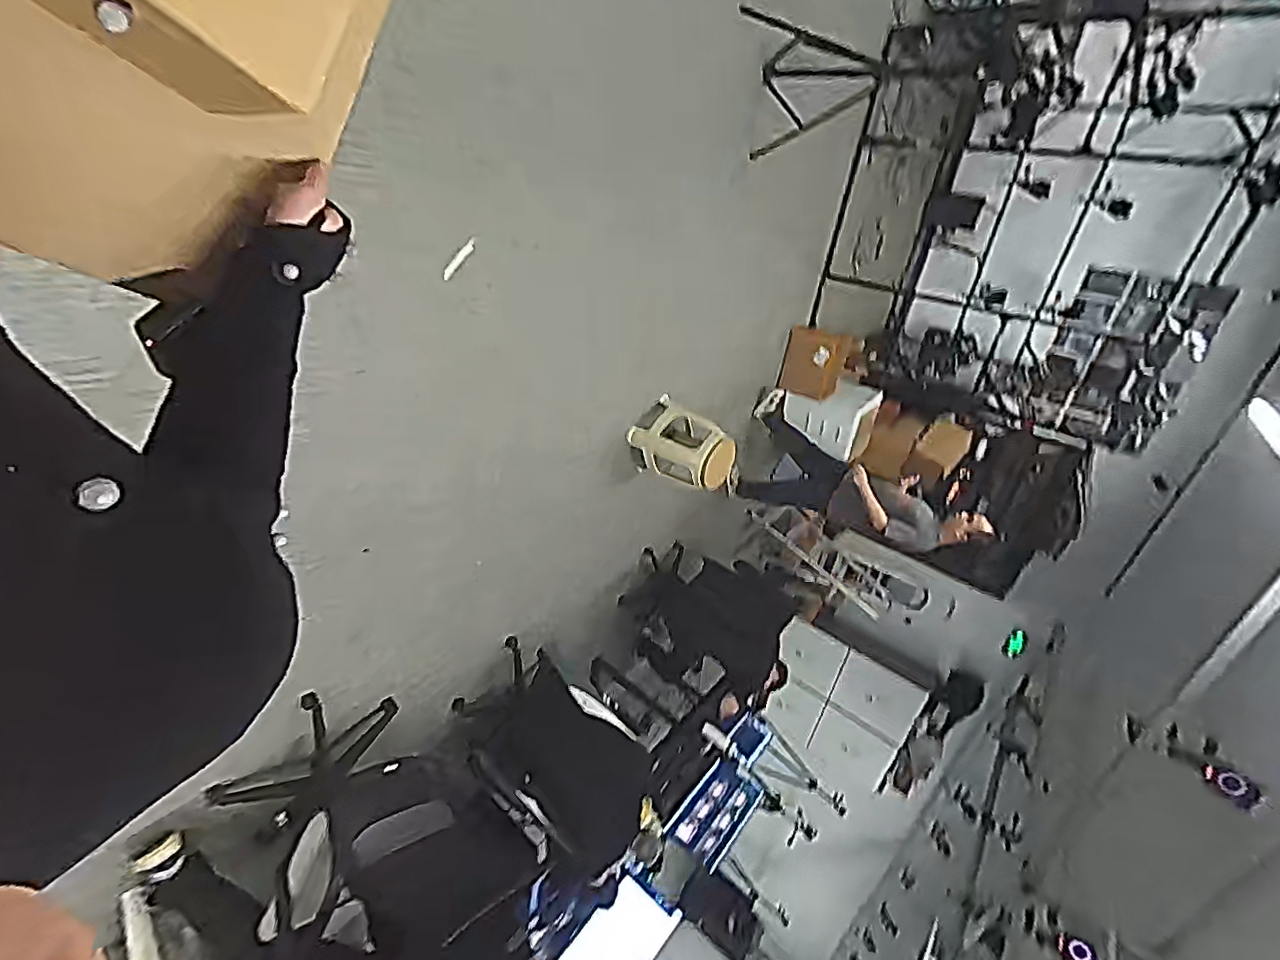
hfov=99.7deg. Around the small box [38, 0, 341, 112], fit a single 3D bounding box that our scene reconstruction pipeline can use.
[{"bbox_3d":[-0.322,-0.383,0.356,0.179,0.176,0.168,17,96,-58],"label":"small box"}]
